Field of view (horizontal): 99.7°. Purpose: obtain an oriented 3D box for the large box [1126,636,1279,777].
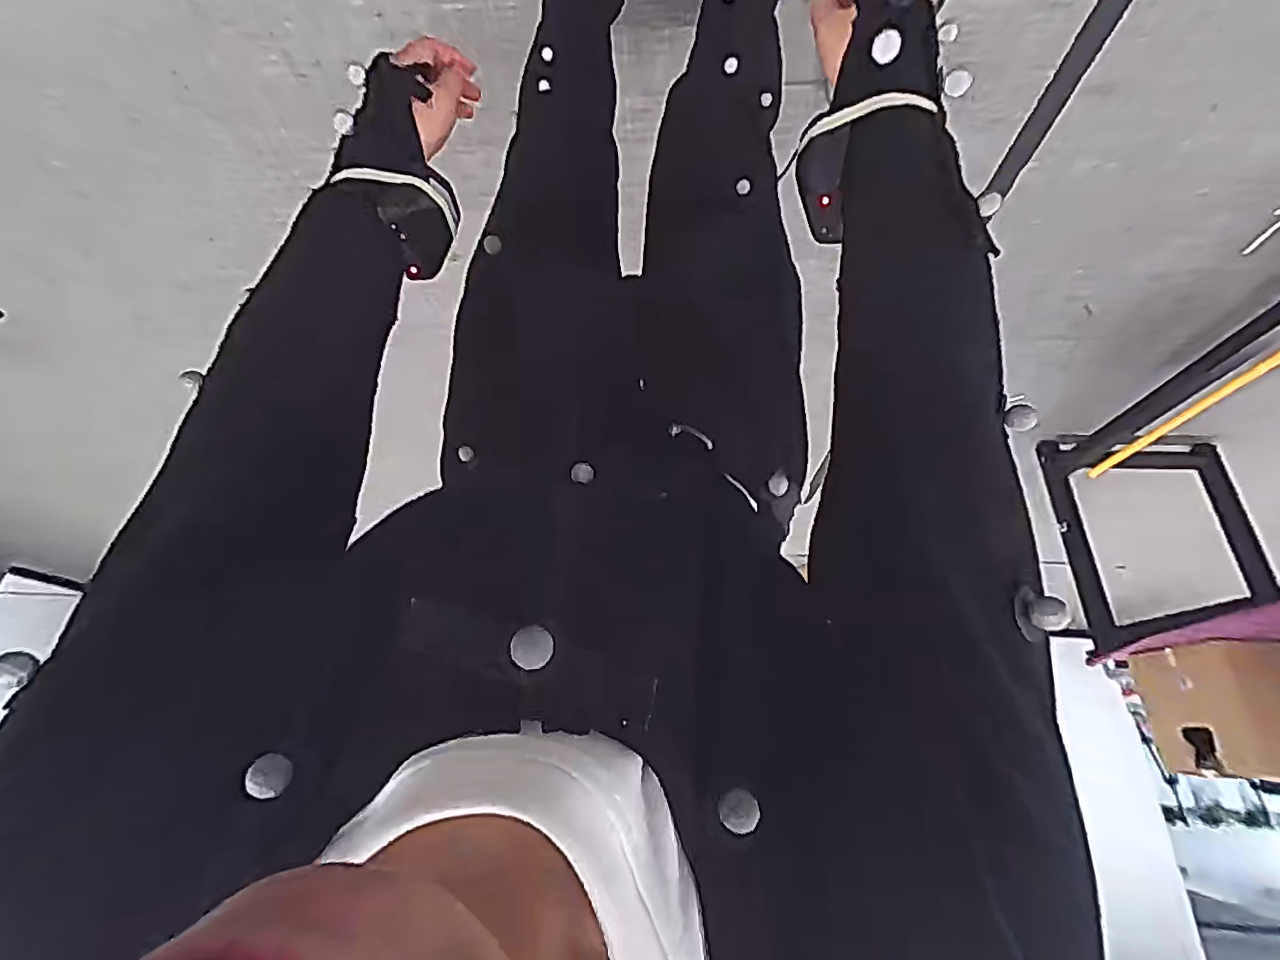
[{"bbox_3d":[1.620,0.588,1.394,0.408,0.320,0.320,0,156,4],"label":"large box"}]
